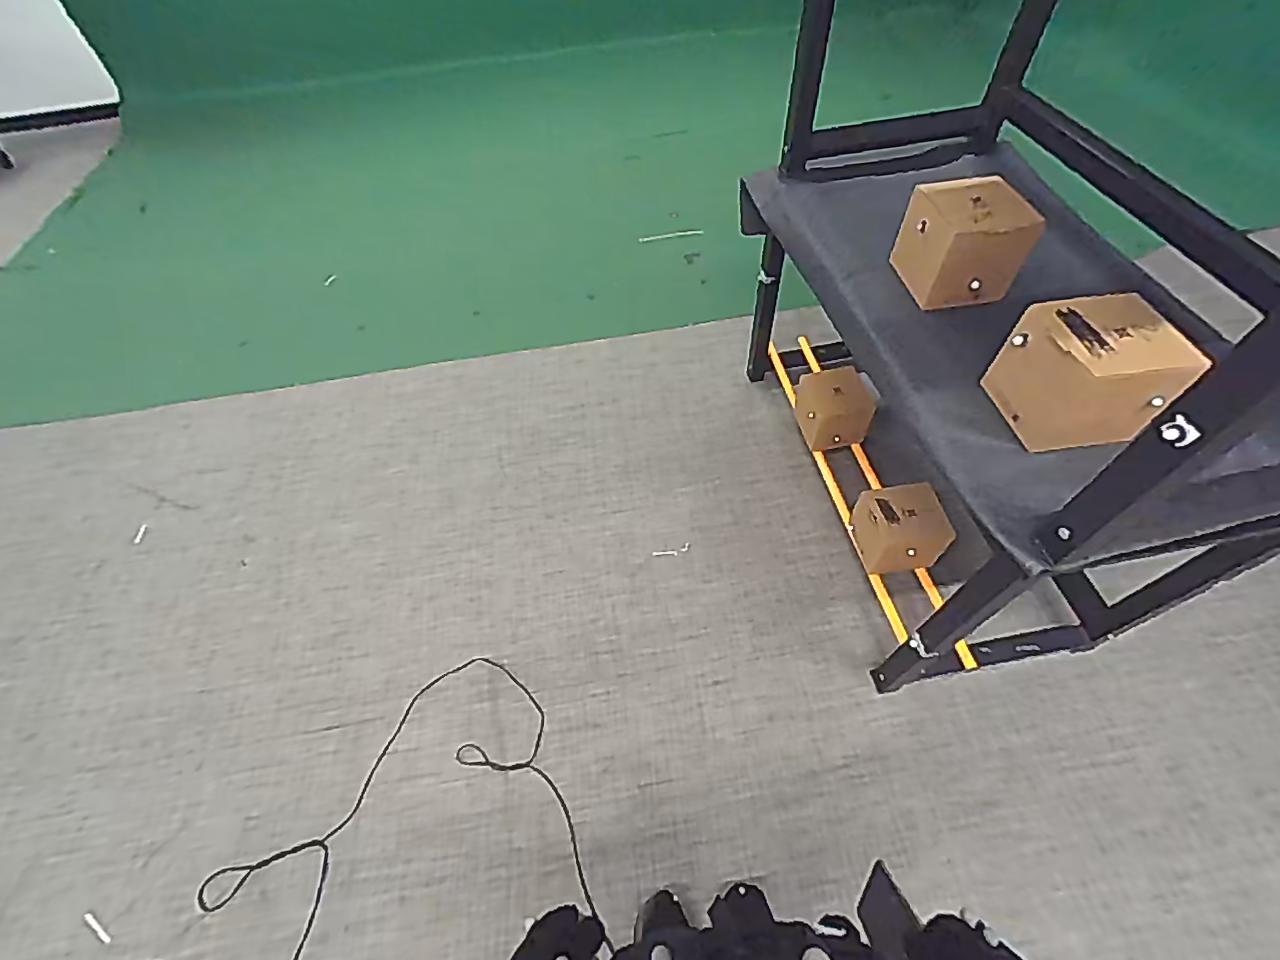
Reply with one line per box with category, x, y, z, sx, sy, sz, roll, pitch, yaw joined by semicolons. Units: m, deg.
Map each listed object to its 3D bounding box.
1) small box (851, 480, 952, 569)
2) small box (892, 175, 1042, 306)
small box;0.670;0.121;1.417;0.179;0.176;0.168;-7;55;-1
small box;0.632;-0.473;1.074;0.168;0.176;0.179;-7;55;-1
